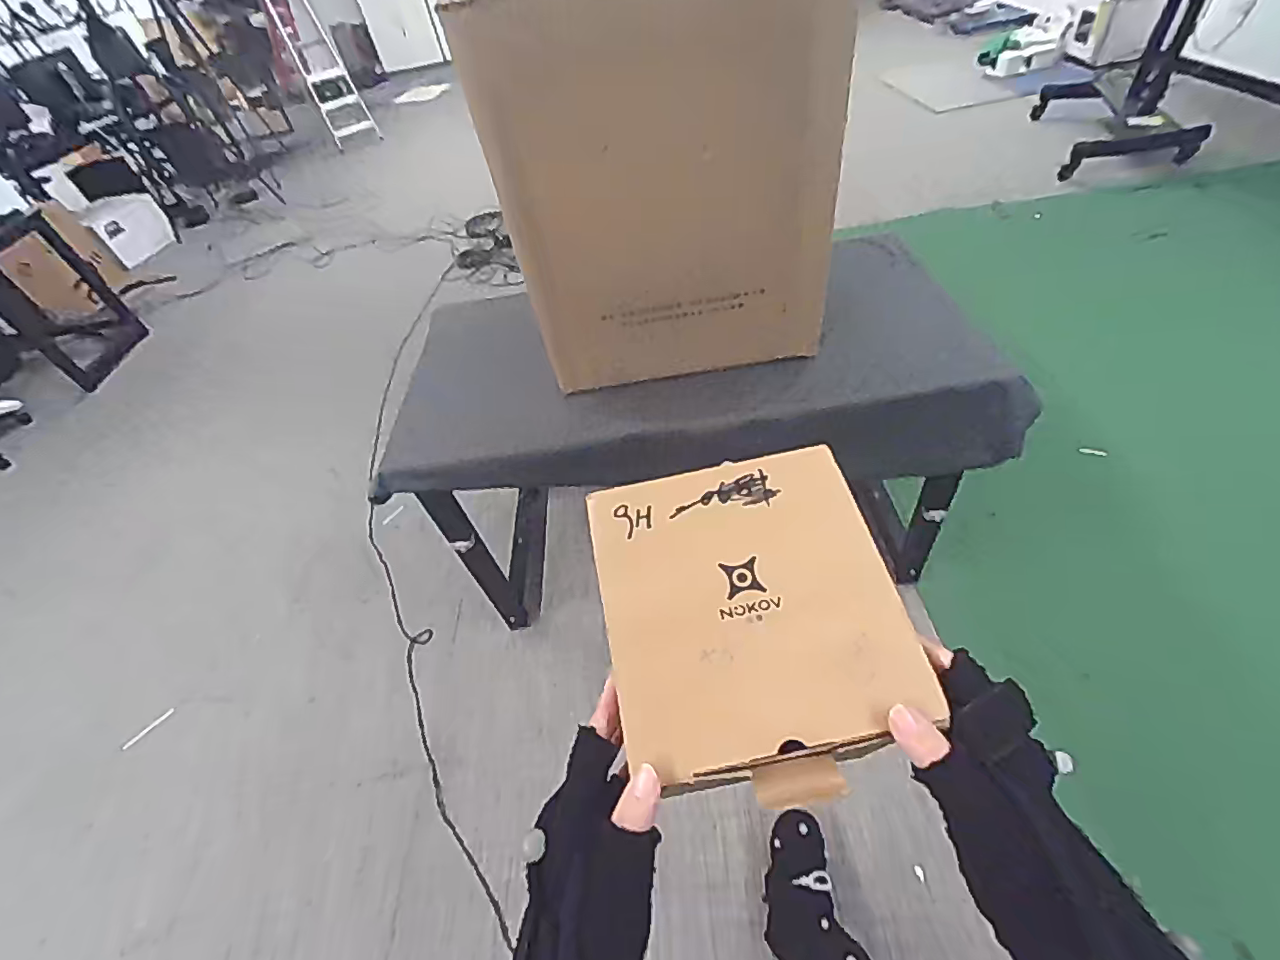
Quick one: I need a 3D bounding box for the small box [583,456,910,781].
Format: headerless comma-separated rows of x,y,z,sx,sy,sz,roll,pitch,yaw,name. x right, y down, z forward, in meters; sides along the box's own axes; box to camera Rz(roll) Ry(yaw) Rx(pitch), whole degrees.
0.065,0.113,0.410,0.168,0.176,0.179,-14,59,-2,small box
